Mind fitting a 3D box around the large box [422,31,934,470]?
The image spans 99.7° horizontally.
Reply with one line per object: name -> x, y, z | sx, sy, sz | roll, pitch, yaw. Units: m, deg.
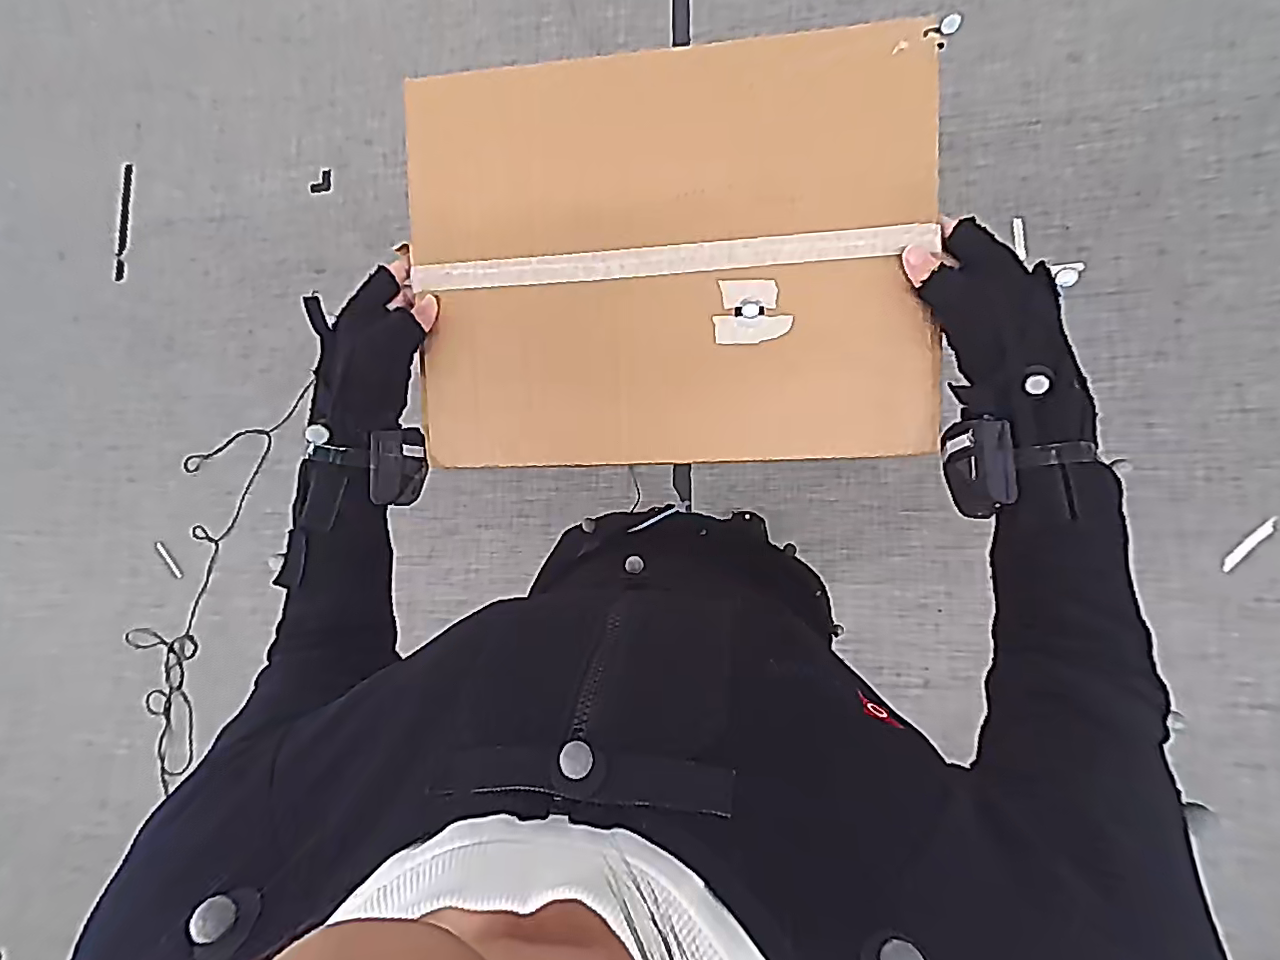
large box -> 0.038, -0.180, 0.579 | 0.408, 0.320, 0.320 | -2, 94, 6
